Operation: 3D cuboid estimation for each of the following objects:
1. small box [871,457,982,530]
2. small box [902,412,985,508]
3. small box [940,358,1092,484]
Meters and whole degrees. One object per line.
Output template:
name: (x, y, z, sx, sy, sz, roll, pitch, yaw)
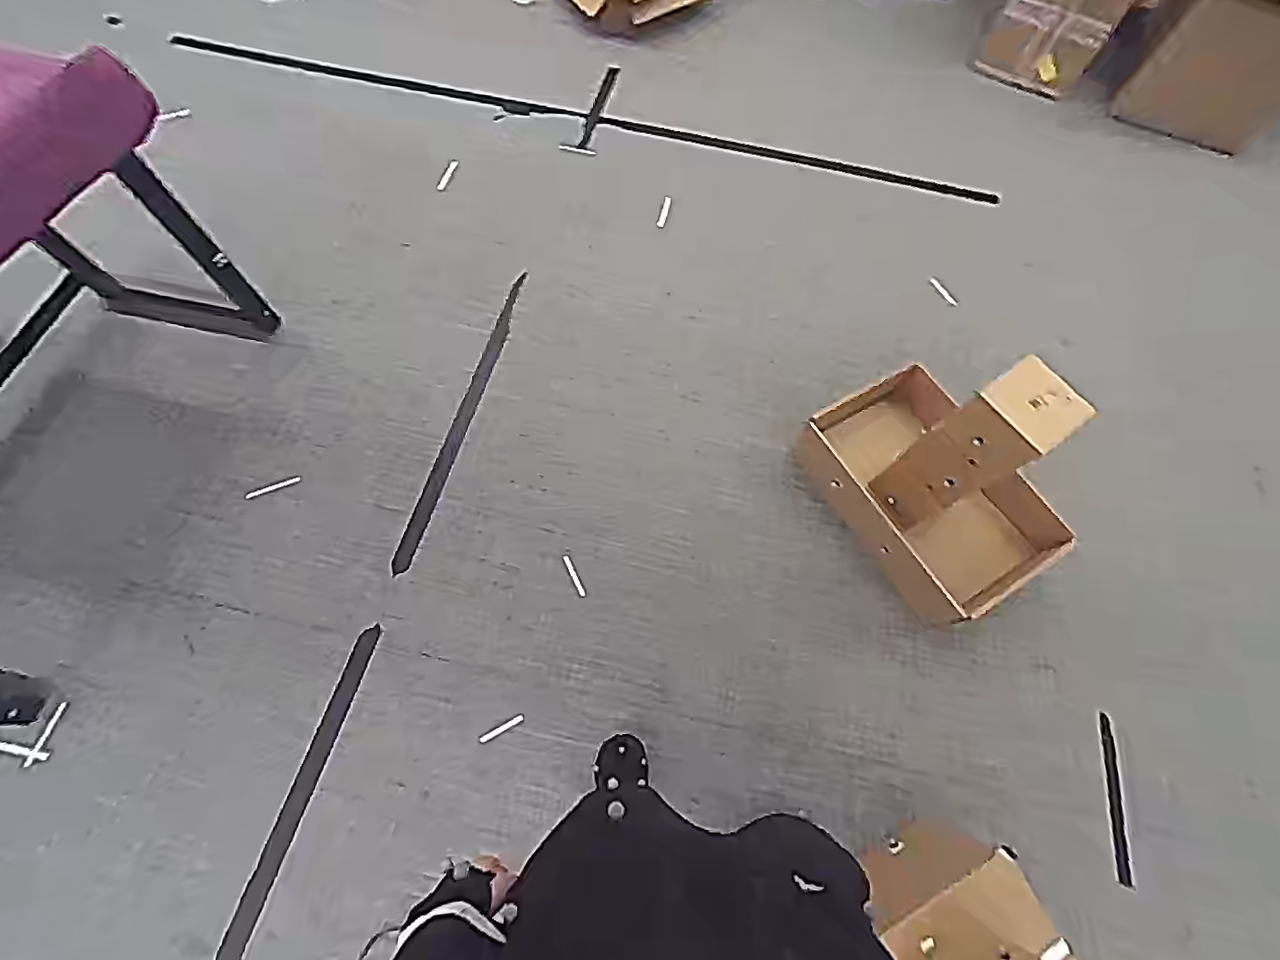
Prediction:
small box: (0.760, 0.010, 1.447, 0.179, 0.176, 0.168, -28, 71, -13)
small box: (0.768, -0.059, 1.302, 0.179, 0.176, 0.168, -32, 74, -17)
small box: (0.778, -0.117, 1.146, 0.179, 0.176, 0.168, -32, 74, -15)
